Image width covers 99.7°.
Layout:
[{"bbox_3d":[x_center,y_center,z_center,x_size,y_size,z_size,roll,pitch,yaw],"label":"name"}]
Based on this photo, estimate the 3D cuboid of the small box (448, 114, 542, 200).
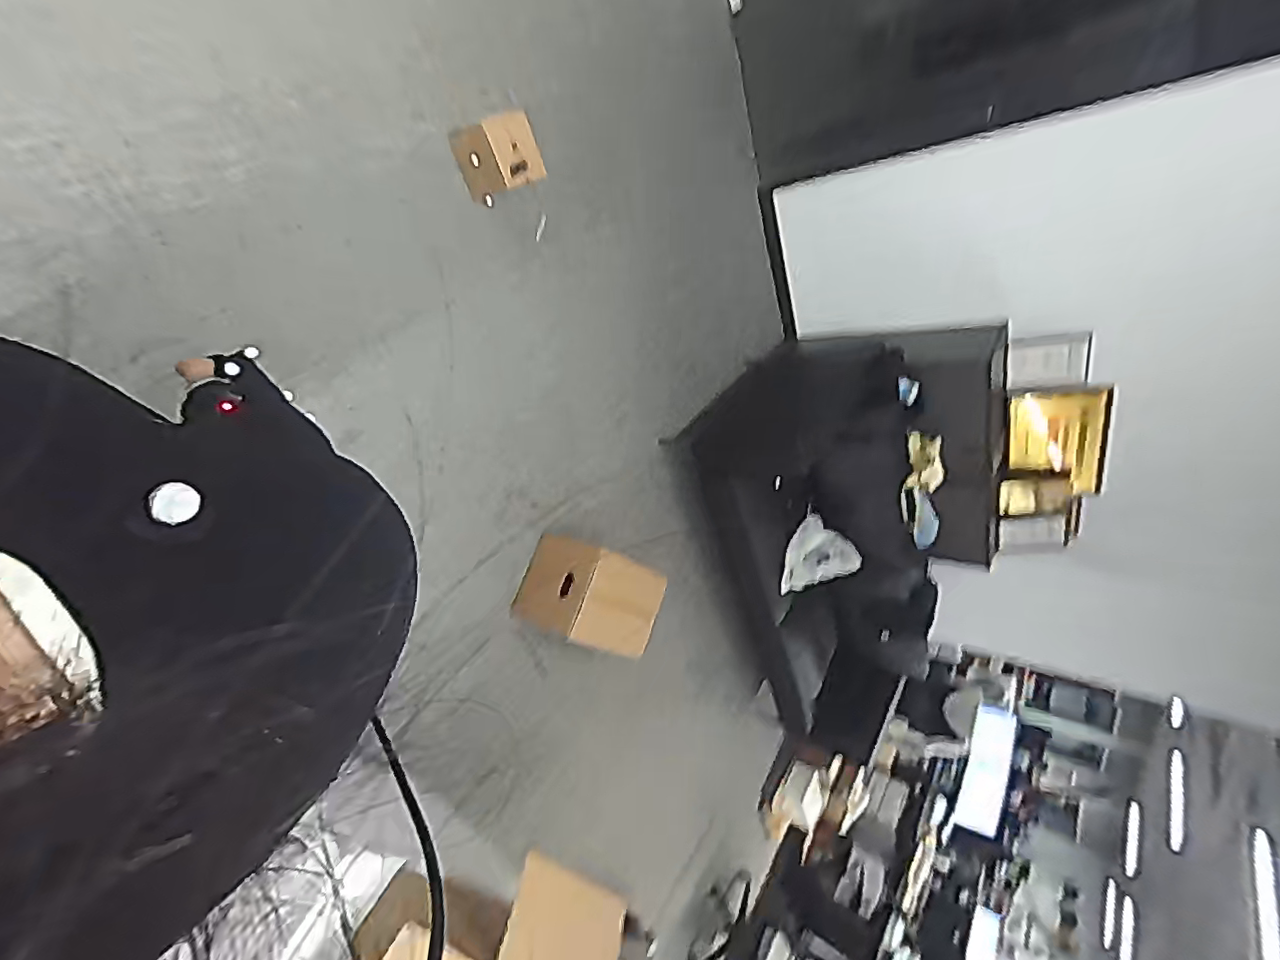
[{"bbox_3d":[-0.426,-0.941,1.586,0.168,0.176,0.179,-43,127,-36],"label":"small box"}]
